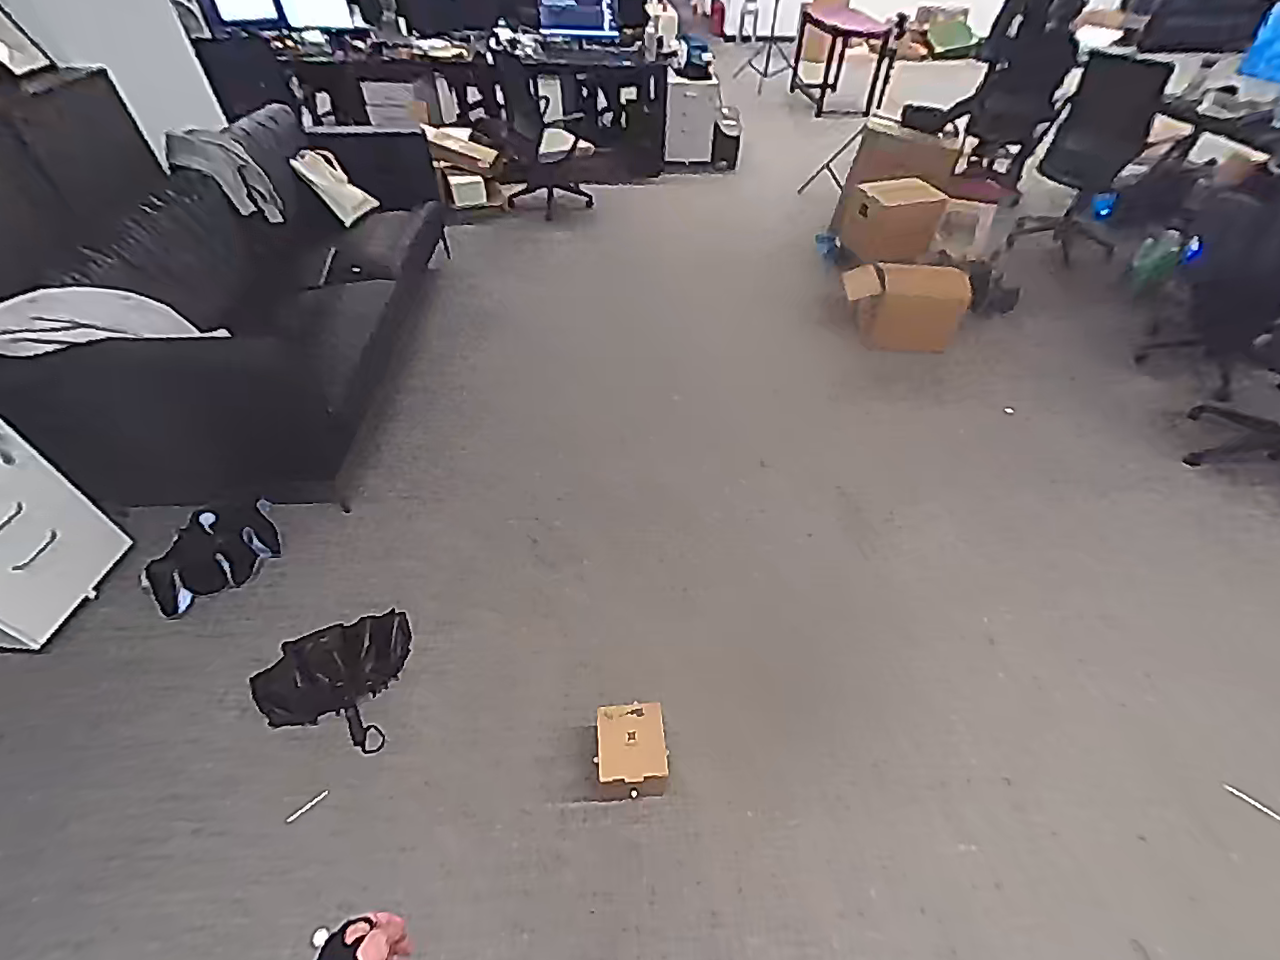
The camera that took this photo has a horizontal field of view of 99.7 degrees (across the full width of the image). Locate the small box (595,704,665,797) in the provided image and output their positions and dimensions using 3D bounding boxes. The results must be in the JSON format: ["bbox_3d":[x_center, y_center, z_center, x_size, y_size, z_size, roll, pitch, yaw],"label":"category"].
[{"bbox_3d":[-0.027,0.687,1.365,0.168,0.176,0.179,-2,47,-4],"label":"small box"}]
